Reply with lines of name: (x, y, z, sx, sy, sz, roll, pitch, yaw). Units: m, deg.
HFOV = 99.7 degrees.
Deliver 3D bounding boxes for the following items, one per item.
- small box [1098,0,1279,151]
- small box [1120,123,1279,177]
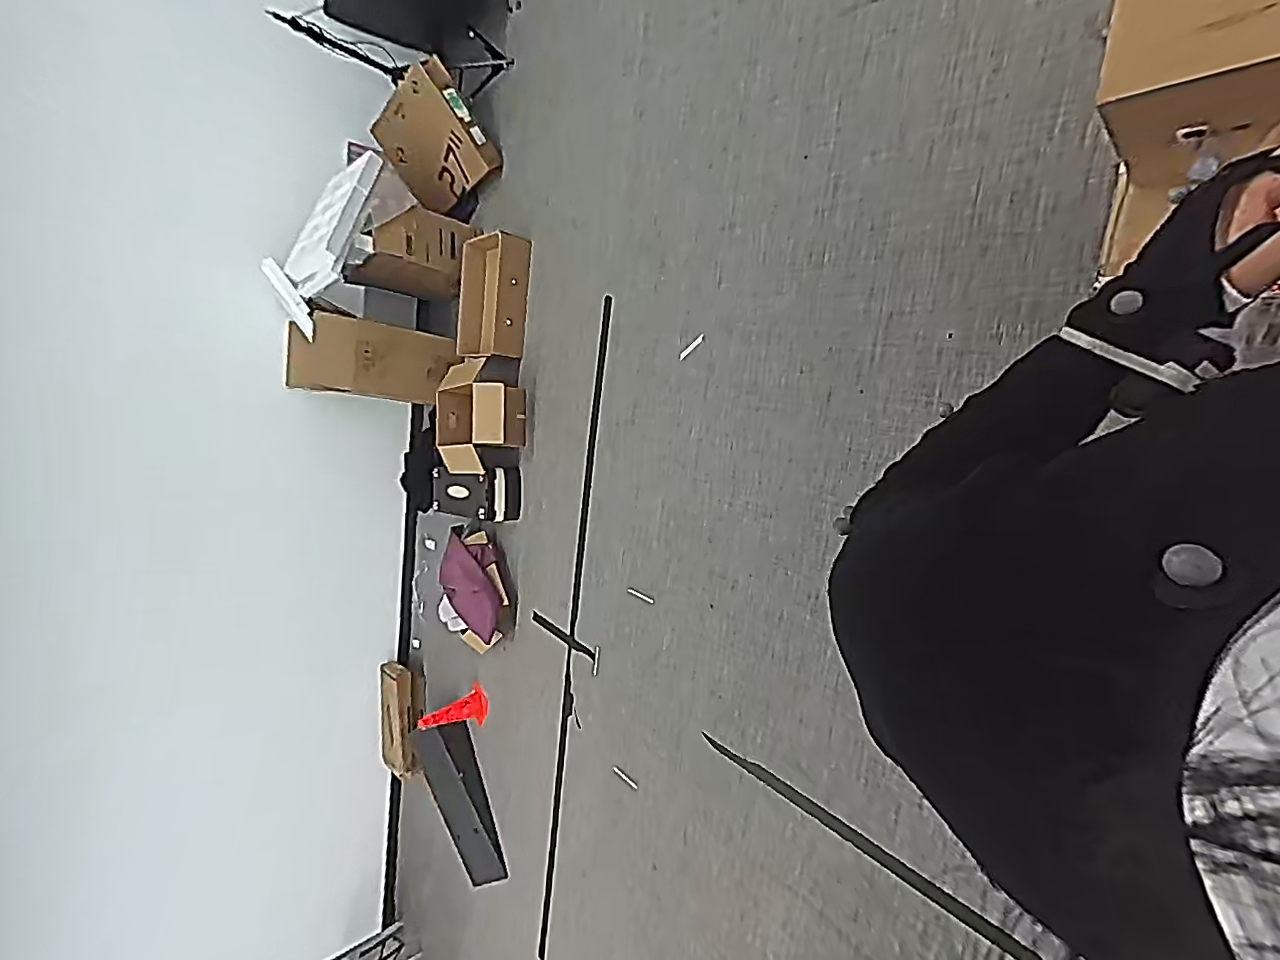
small box: (0.591, -0.466, 0.536, 0.168, 0.176, 0.179, 14, 104, 48)
small box: (0.709, -0.496, 0.645, 0.168, 0.176, 0.179, 15, 104, 47)
